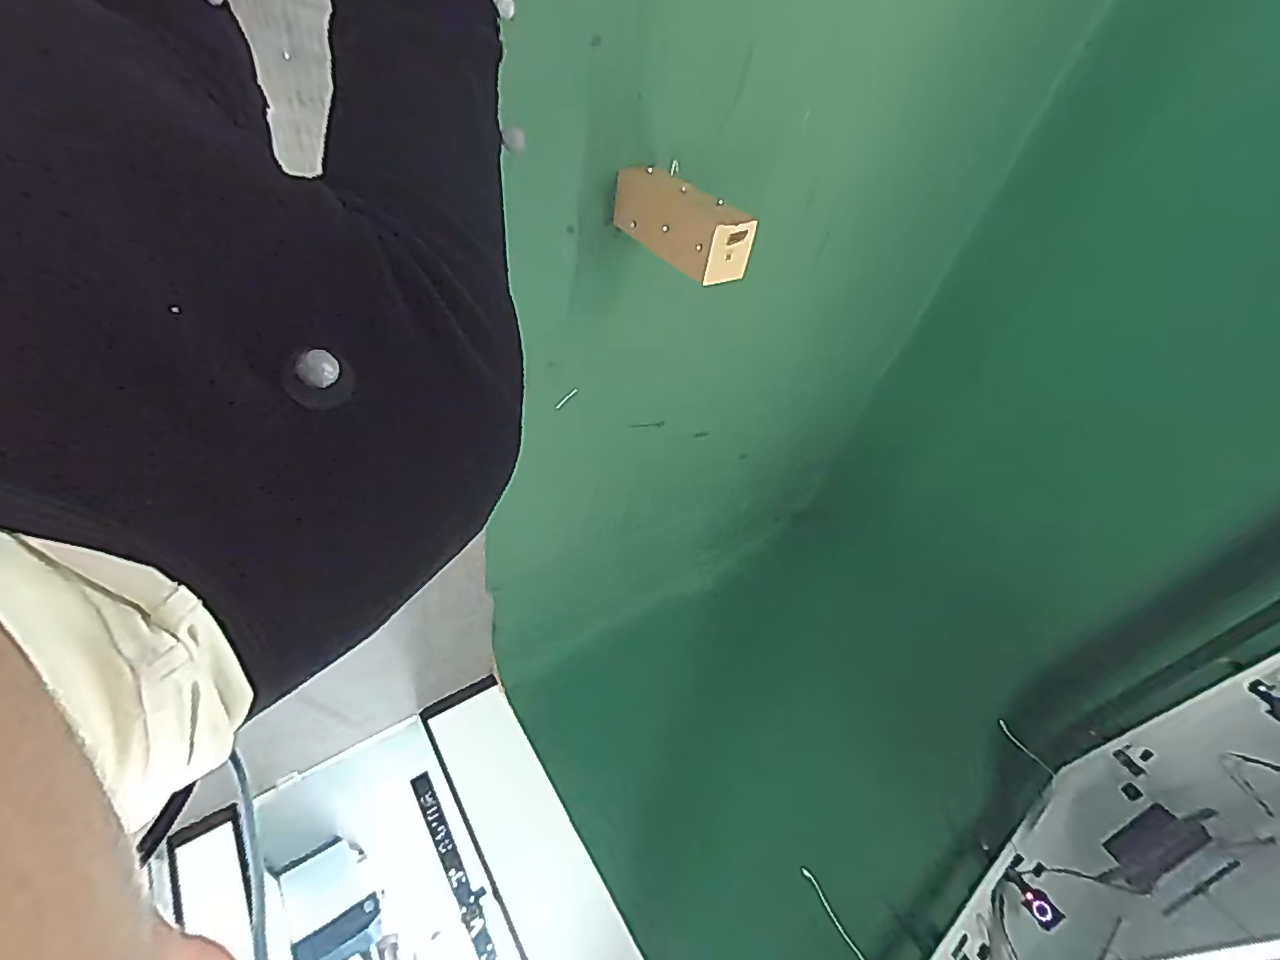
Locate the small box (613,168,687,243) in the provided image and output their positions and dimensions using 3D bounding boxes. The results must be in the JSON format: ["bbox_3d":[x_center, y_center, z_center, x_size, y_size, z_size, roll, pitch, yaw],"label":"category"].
[{"bbox_3d":[0.027,-0.914,1.796,0.168,0.176,0.179,-22,143,-30],"label":"small box"}]

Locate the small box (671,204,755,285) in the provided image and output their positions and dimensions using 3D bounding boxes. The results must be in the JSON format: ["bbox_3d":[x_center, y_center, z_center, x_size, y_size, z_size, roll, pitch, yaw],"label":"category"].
[{"bbox_3d":[0.211,-0.711,1.619,0.168,0.176,0.179,-21,143,-29],"label":"small box"}]

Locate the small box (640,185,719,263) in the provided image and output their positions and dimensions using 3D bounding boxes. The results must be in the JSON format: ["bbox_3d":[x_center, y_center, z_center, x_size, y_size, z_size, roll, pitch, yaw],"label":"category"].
[{"bbox_3d":[0.119,-0.811,1.711,0.168,0.176,0.179,-20,142,-31],"label":"small box"}]
